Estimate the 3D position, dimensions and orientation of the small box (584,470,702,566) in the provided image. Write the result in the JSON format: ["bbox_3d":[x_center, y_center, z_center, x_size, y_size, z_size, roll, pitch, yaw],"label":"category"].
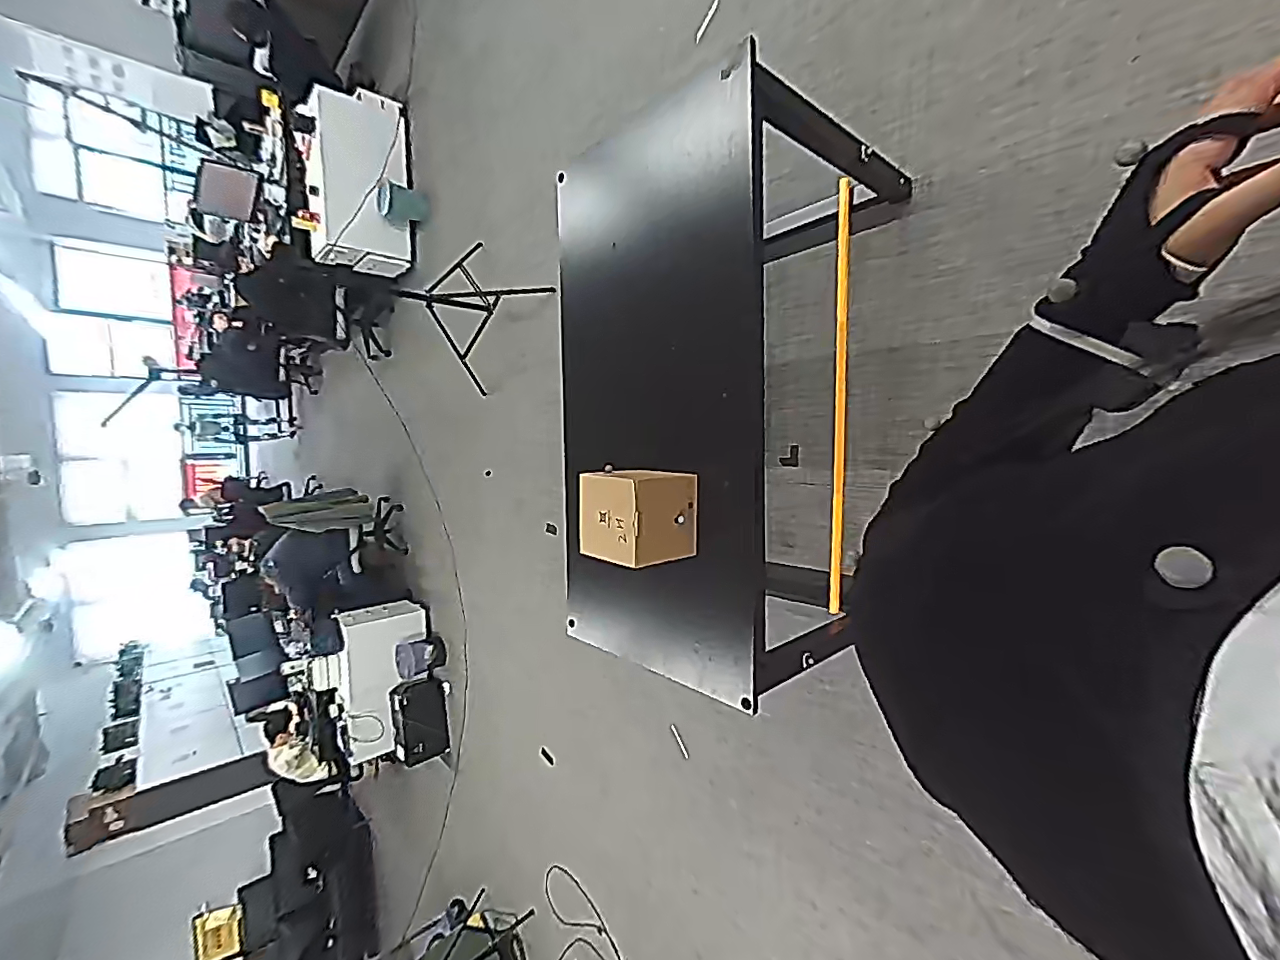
[{"bbox_3d":[0.004,0.067,1.098,0.179,0.176,0.168,6,98,48],"label":"small box"}]
